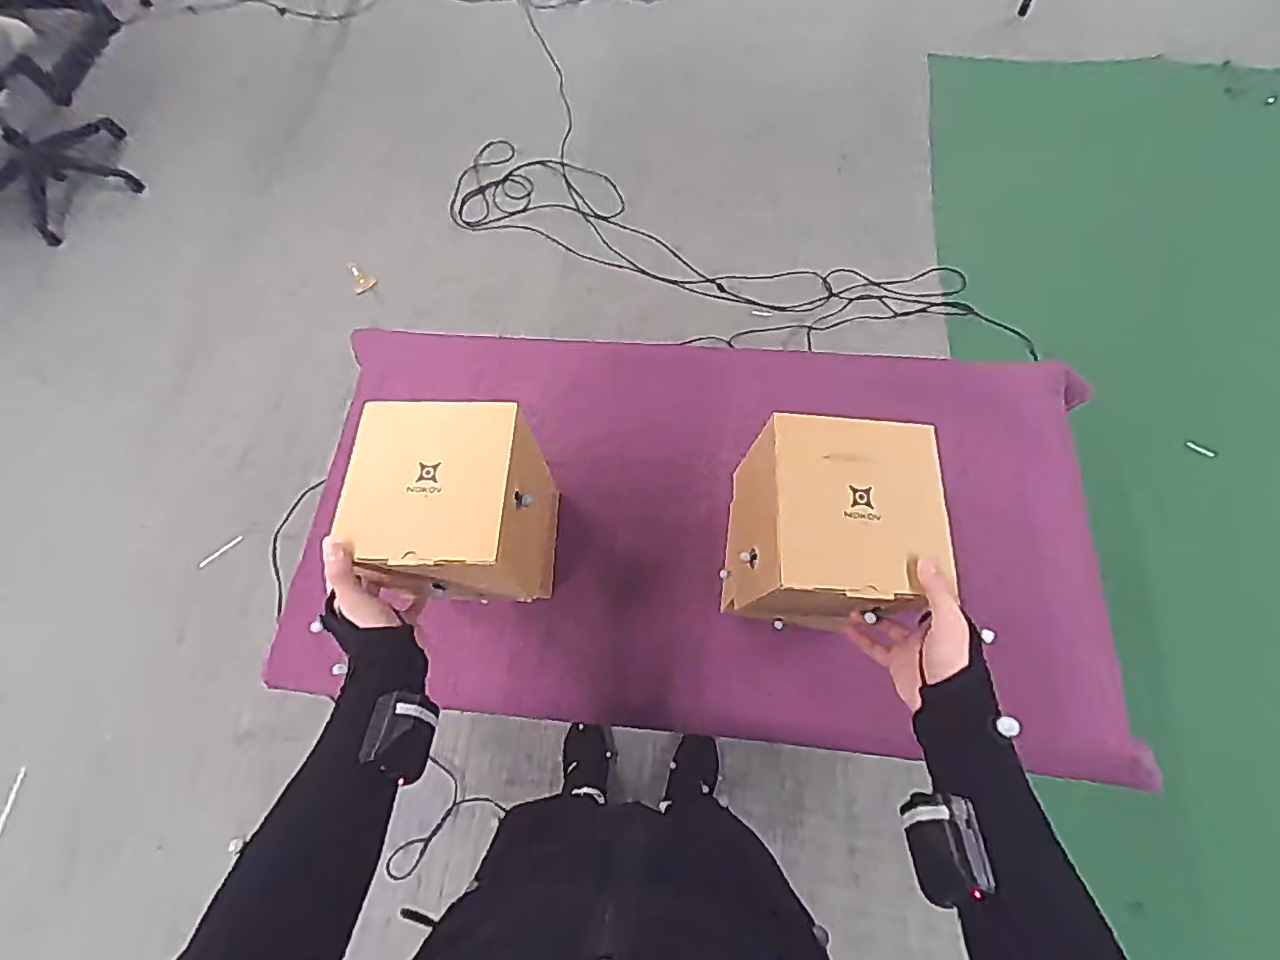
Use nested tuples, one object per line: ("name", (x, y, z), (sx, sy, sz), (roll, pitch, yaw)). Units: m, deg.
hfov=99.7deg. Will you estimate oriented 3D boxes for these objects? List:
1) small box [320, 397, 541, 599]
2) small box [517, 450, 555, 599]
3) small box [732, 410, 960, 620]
("small box", (-0.210, 0.027, 0.600), (0.168, 0.176, 0.179), (1, 67, 2))
("small box", (-0.220, 0.066, 0.770), (0.168, 0.176, 0.179), (0, 69, 3))
("small box", (0.199, 0.048, 0.571), (0.168, 0.176, 0.179), (6, 68, -4))
